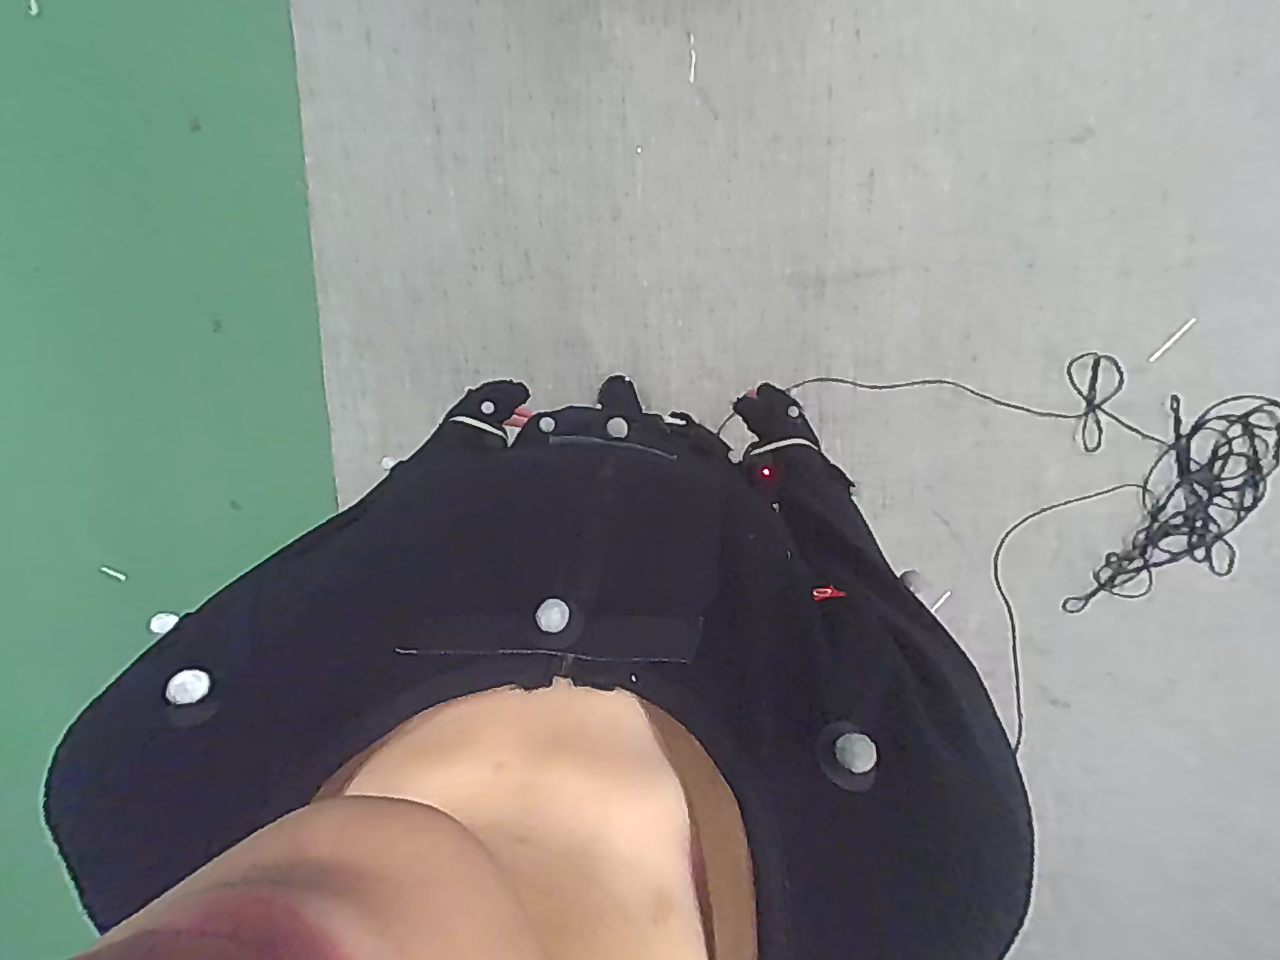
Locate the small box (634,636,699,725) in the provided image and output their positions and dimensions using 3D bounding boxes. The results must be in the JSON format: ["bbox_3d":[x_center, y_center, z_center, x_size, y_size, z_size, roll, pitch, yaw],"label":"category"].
[{"bbox_3d":[0.070,0.532,1.455,0.168,0.176,0.179,0,98,3],"label":"small box"}]

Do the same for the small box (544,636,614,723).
[{"bbox_3d":[-0.162,0.534,1.467,0.168,0.176,0.179,-2,98,3],"label":"small box"}]
